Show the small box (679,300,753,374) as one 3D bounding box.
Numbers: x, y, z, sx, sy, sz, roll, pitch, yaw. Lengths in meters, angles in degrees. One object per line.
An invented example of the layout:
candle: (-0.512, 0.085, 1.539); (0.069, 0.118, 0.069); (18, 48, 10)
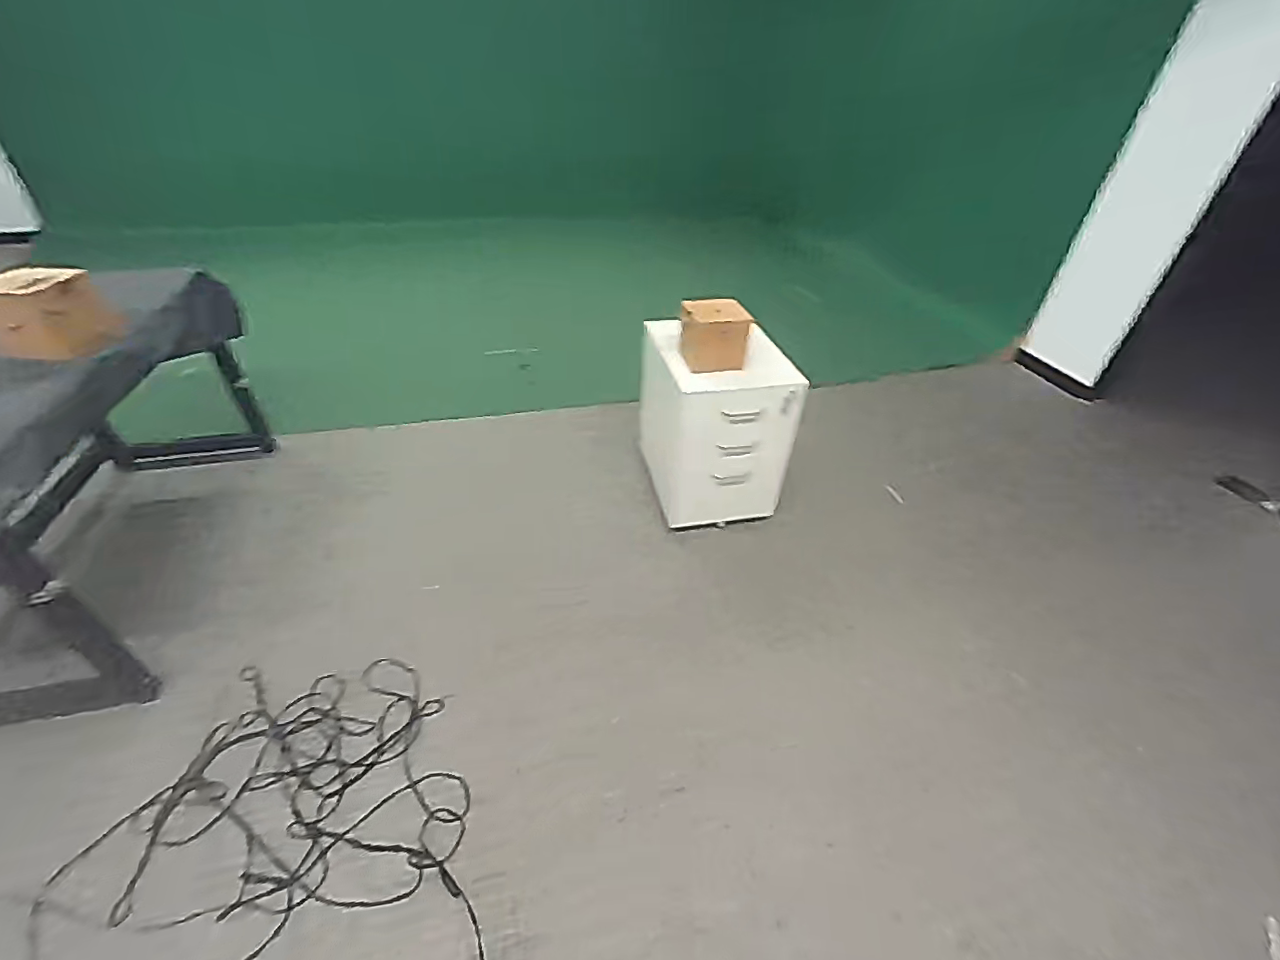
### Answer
small box: (0.229, -0.444, 1.681); (0.179, 0.176, 0.168); (-7, 41, -12)
